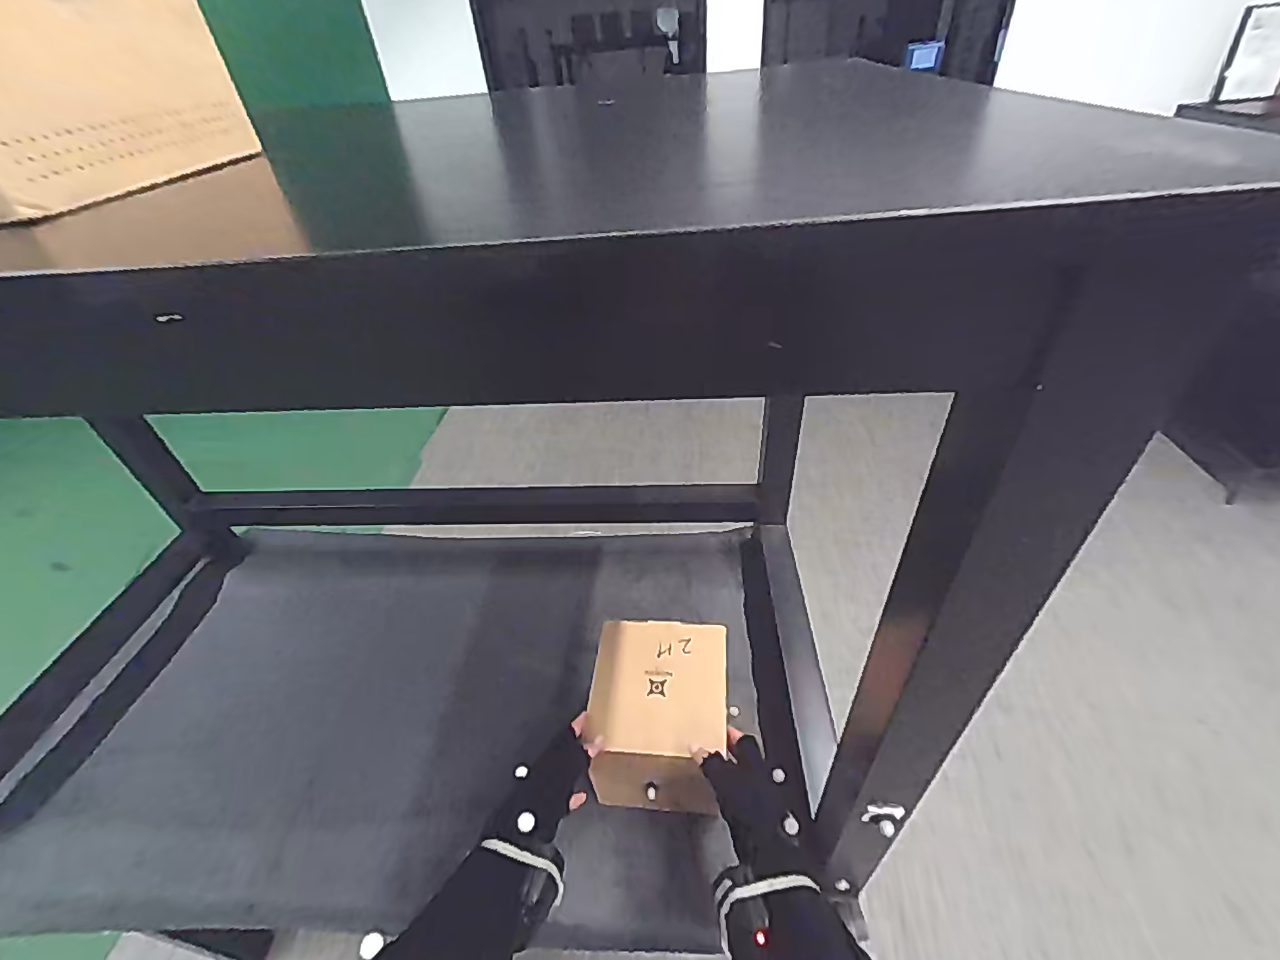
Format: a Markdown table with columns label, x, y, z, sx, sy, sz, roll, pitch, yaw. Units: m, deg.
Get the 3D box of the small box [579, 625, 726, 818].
| label | x | y | z | sx | sy | sz | roll | pitch | yaw |
| --- | --- | --- | --- | --- | --- | --- | --- | --- | --- |
| small box | 0.029 | 0.316 | 0.710 | 0.168 | 0.176 | 0.179 | 1 | 40 | 8 |
